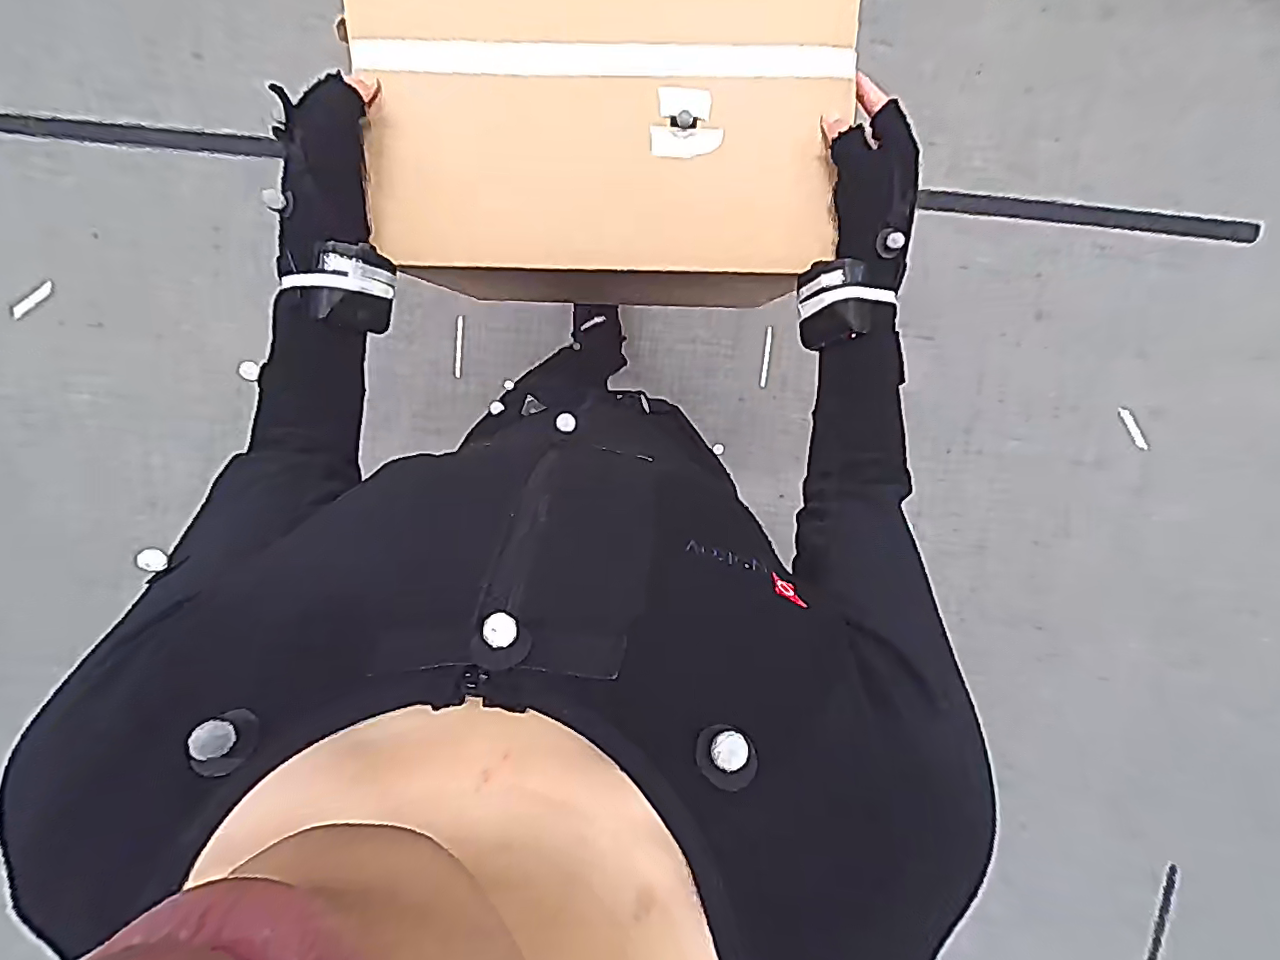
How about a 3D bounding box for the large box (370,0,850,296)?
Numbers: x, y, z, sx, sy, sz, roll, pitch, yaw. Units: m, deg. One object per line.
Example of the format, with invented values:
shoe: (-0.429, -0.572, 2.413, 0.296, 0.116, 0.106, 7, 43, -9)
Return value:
large box: (-0.029, -0.384, 0.600, 0.408, 0.320, 0.320, 1, 103, -1)
